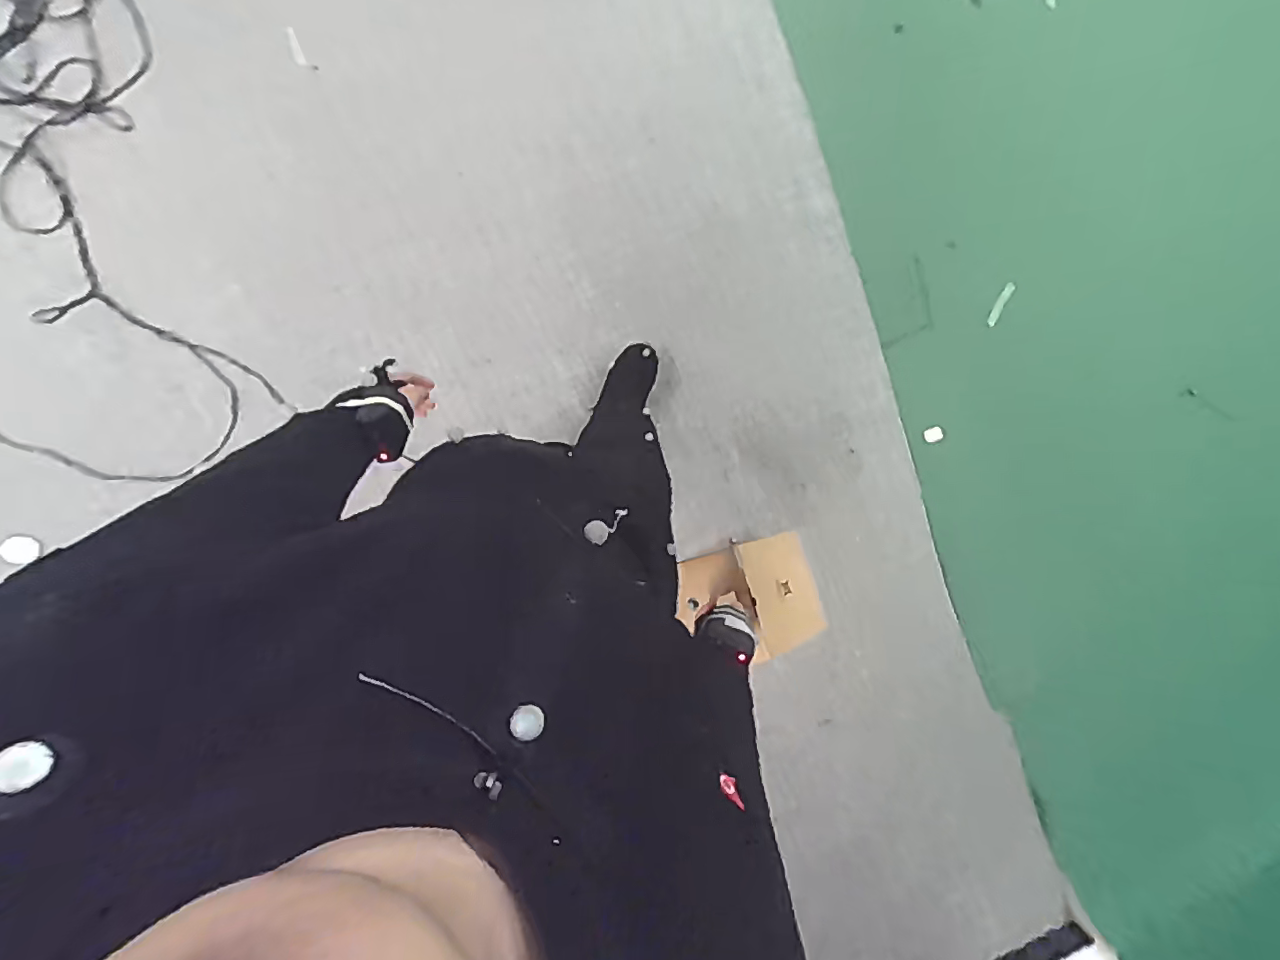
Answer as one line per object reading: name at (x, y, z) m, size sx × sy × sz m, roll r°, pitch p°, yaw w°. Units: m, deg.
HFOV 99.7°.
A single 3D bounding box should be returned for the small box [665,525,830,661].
small box at (0.170, 0.181, 0.869) m, size 0.179 × 0.176 × 0.168 m, roll -9°, pitch 78°, yaw -45°
